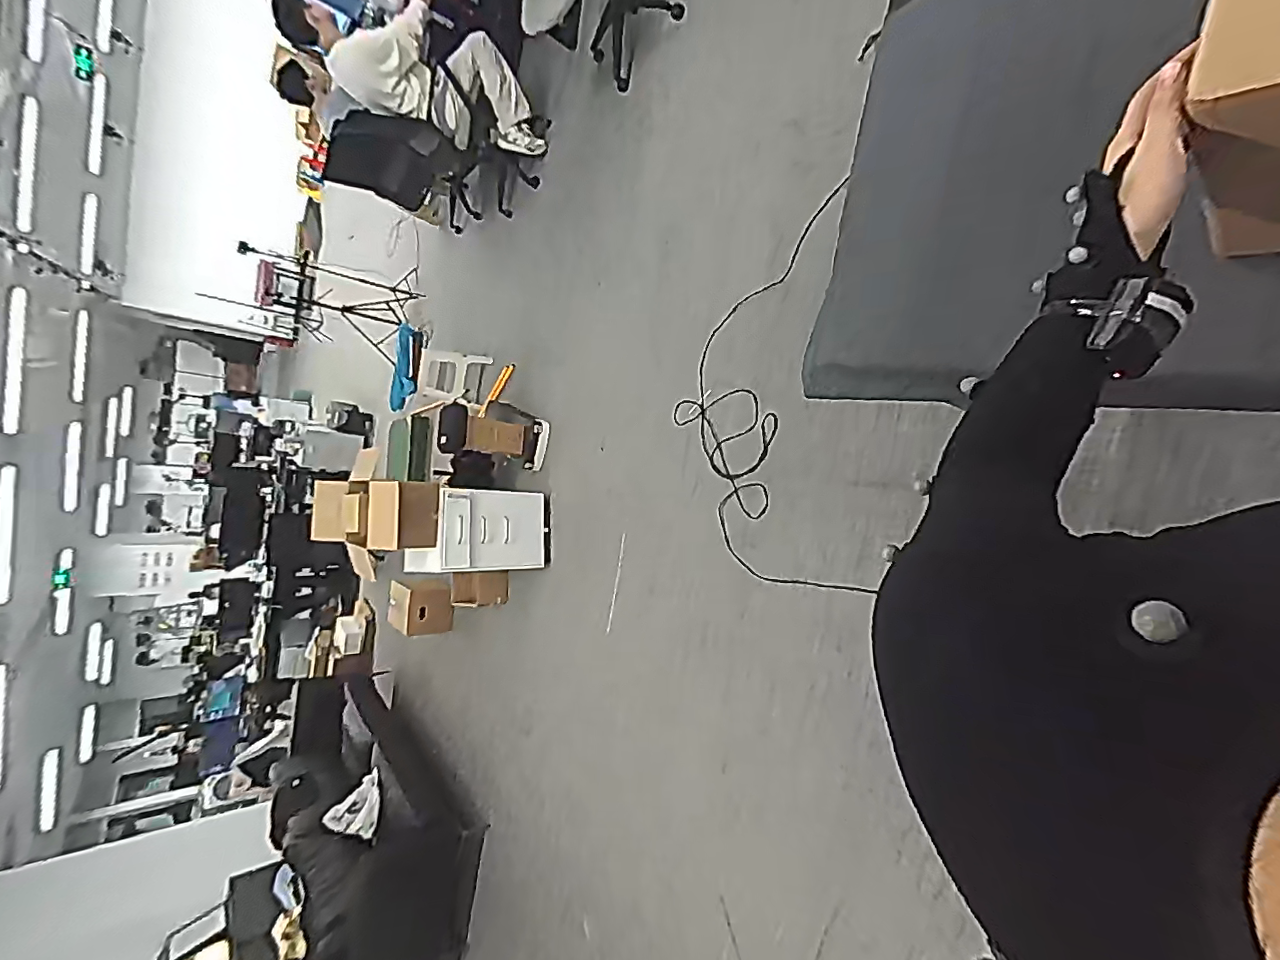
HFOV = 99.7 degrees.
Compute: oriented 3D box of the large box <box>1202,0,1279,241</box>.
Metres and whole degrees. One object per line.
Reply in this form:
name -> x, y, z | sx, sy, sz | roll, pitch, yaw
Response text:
large box -> 0.649, -0.374, 0.312 | 0.408, 0.320, 0.320 | 17, 99, 49
